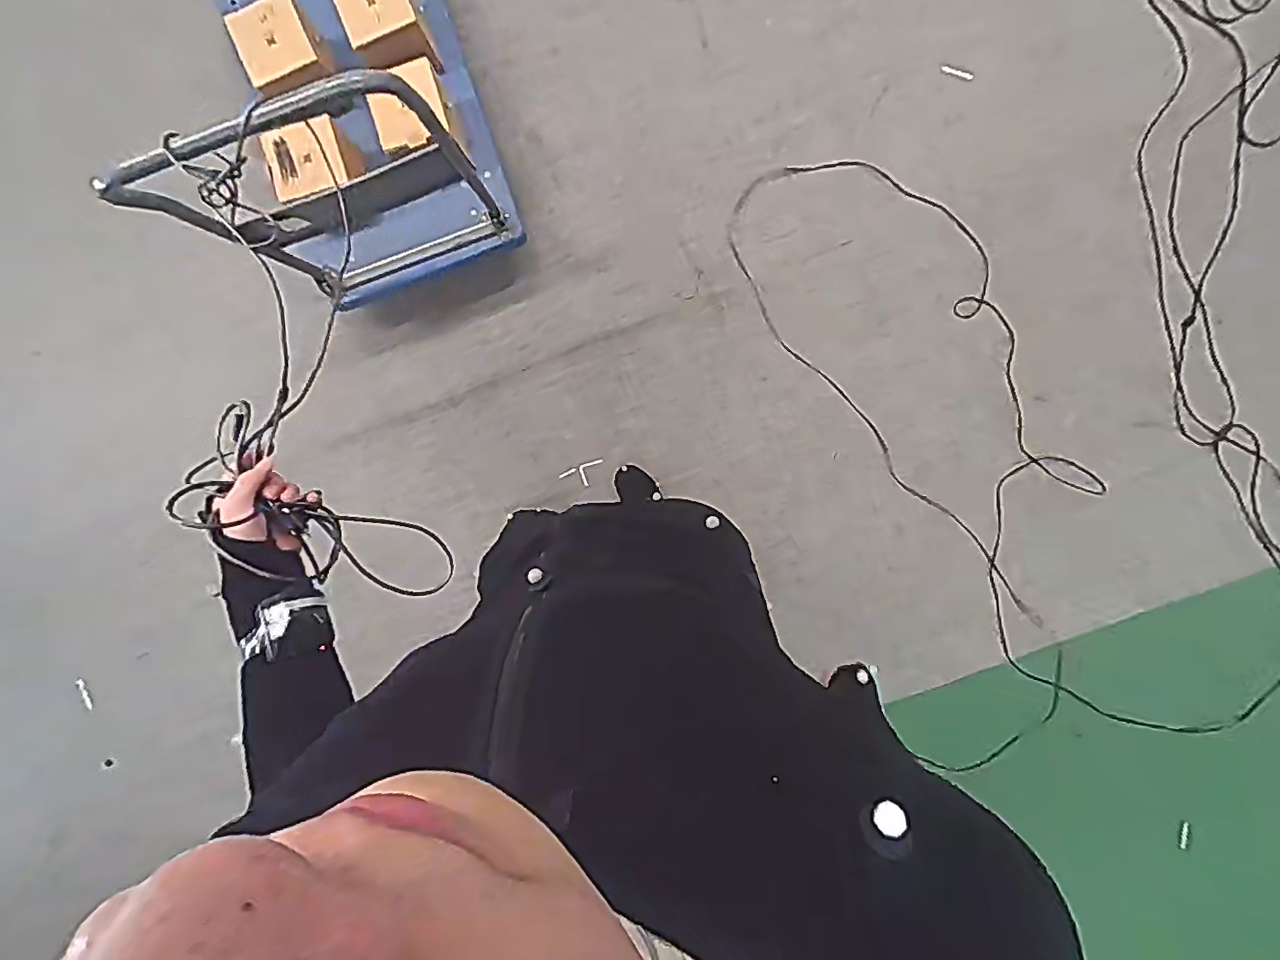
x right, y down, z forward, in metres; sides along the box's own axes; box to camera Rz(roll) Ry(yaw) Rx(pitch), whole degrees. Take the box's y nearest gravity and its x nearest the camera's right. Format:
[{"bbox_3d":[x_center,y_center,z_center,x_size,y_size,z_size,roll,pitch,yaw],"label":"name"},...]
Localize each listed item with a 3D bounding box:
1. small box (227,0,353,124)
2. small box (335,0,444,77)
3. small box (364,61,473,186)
[{"bbox_3d":[-0.854,-1.026,1.340,0.168,0.176,0.179,-22,93,3],"label":"small box"},{"bbox_3d":[-0.613,-1.109,1.323,0.168,0.176,0.179,-20,94,5],"label":"small box"},{"bbox_3d":[-0.539,-0.872,1.338,0.168,0.176,0.179,-17,94,4],"label":"small box"}]
